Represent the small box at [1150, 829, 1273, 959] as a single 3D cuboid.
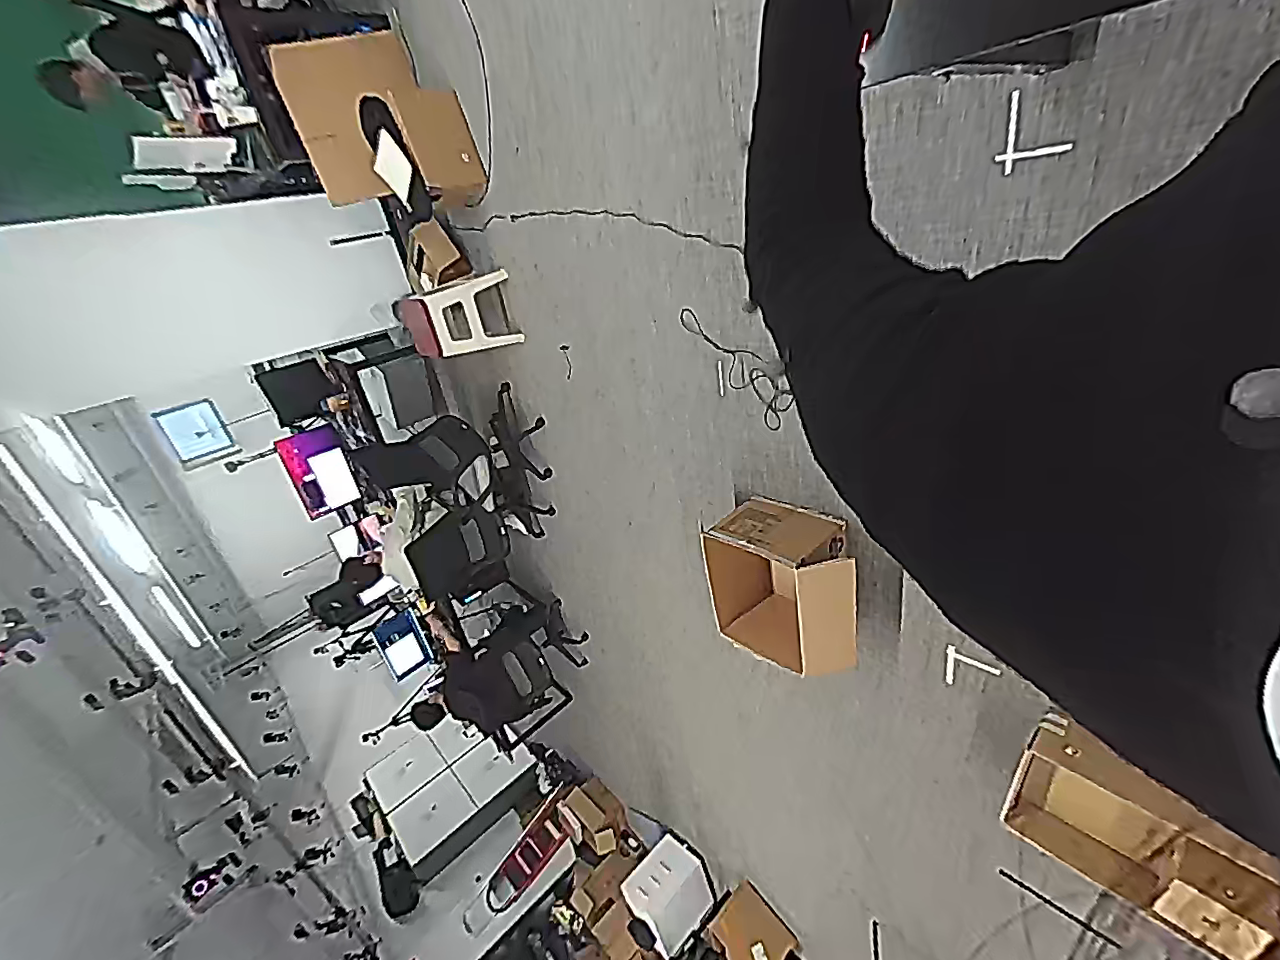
[{"bbox_3d":[1.476,1.061,1.396,0.179,0.176,0.168,24,130,43],"label":"small box"}]
